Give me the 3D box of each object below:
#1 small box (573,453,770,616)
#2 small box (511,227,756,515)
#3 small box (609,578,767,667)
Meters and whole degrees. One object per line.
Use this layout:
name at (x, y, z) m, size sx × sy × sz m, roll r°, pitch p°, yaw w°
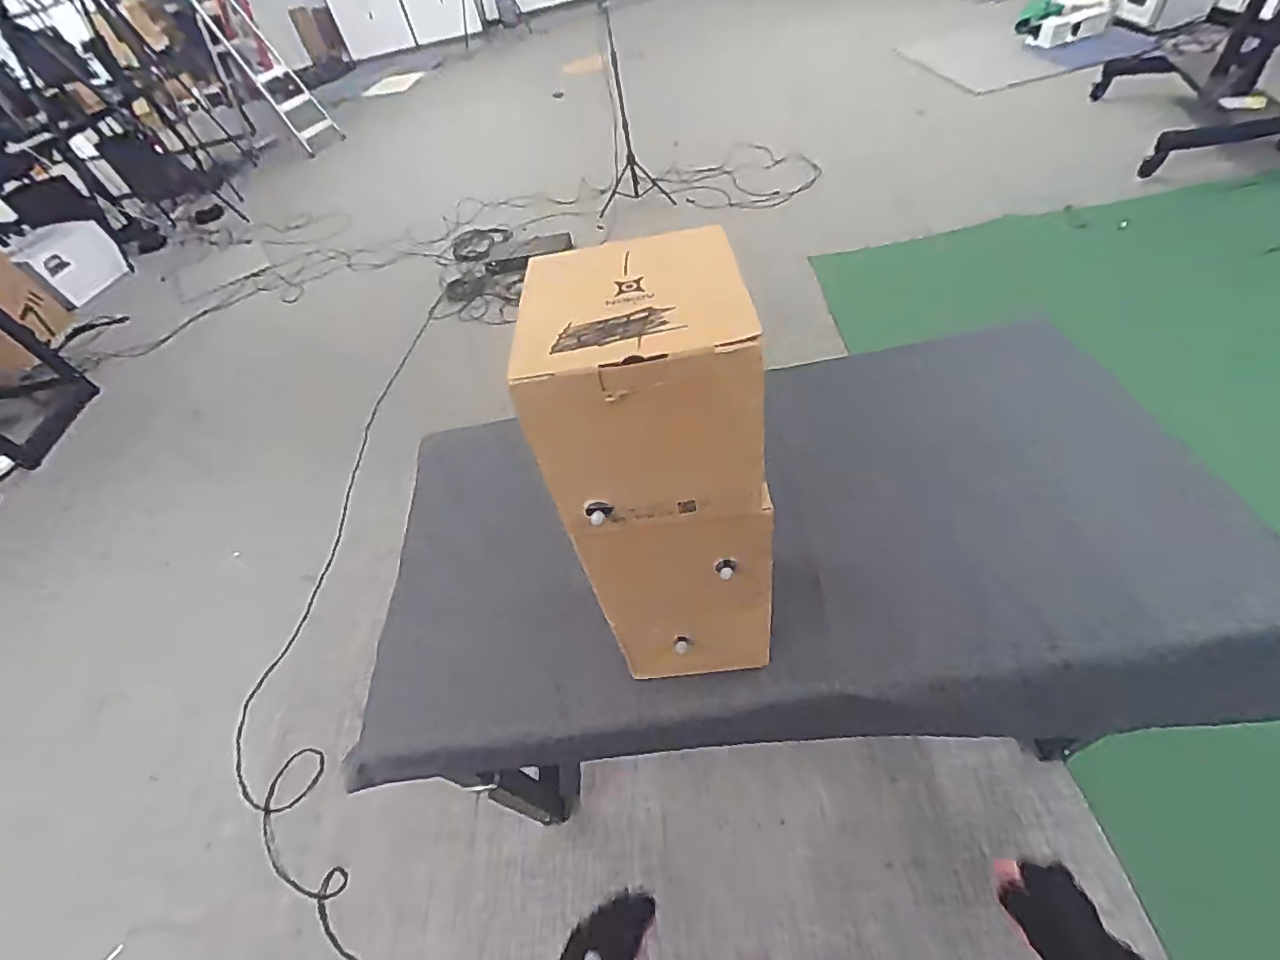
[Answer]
small box at (0.036, 0.027, 0.579) m, size 0.179 × 0.176 × 0.168 m, roll -9°, pitch 47°, yaw 6°
small box at (0.004, -0.084, 0.462) m, size 0.168 × 0.176 × 0.179 m, roll -8°, pitch 46°, yaw 5°
small box at (0.064, 0.129, 0.702) m, size 0.179 × 0.176 × 0.168 m, roll -8°, pitch 49°, yaw 6°
